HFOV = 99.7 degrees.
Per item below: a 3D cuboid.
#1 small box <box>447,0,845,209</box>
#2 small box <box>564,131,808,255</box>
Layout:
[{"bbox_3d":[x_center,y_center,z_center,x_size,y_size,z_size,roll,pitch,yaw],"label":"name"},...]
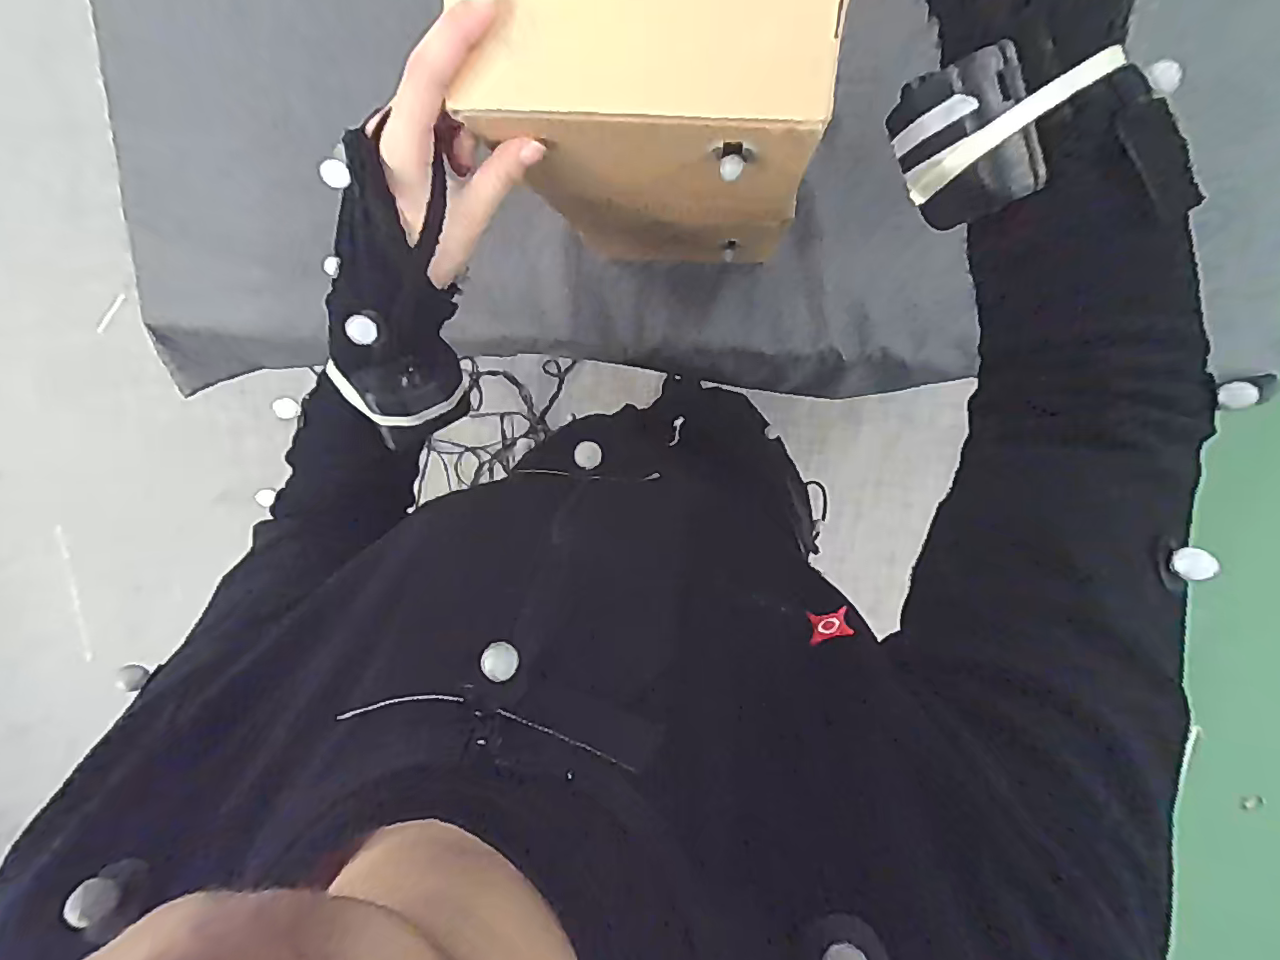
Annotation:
[{"bbox_3d":[0.013,-0.263,0.301,0.179,0.176,0.168,6,103,6],"label":"small box"},{"bbox_3d":[0.043,-0.294,0.458,0.179,0.176,0.168,4,102,8],"label":"small box"}]
